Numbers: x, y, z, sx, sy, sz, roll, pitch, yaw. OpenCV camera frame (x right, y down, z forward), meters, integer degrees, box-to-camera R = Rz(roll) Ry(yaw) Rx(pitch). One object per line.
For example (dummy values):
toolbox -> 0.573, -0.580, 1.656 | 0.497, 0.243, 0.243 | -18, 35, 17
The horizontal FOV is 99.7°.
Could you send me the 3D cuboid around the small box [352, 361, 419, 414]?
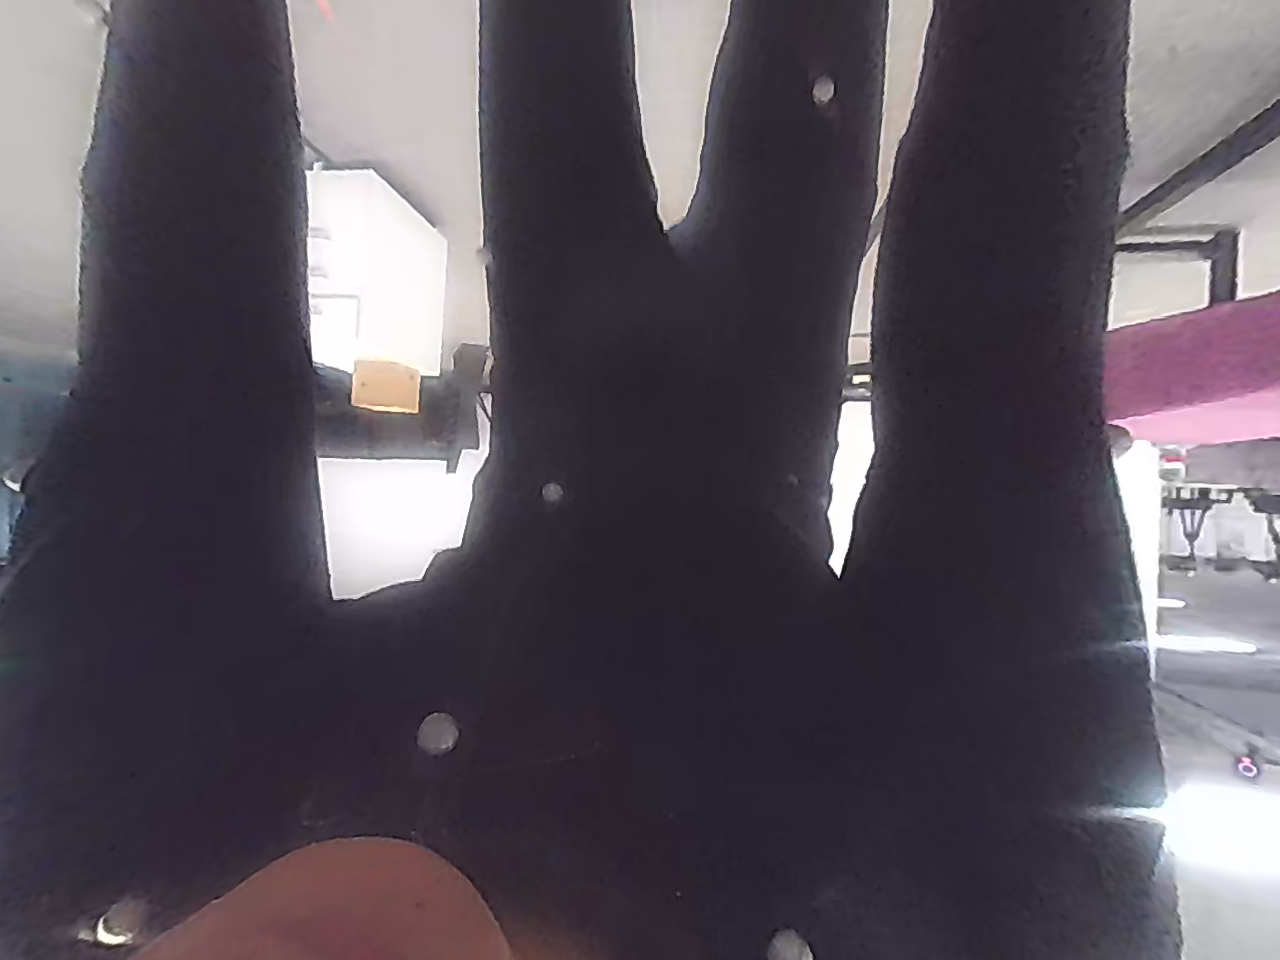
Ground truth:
small box -> -0.966, -0.353, 2.064 | 0.179, 0.176, 0.168 | 4, 180, 6
